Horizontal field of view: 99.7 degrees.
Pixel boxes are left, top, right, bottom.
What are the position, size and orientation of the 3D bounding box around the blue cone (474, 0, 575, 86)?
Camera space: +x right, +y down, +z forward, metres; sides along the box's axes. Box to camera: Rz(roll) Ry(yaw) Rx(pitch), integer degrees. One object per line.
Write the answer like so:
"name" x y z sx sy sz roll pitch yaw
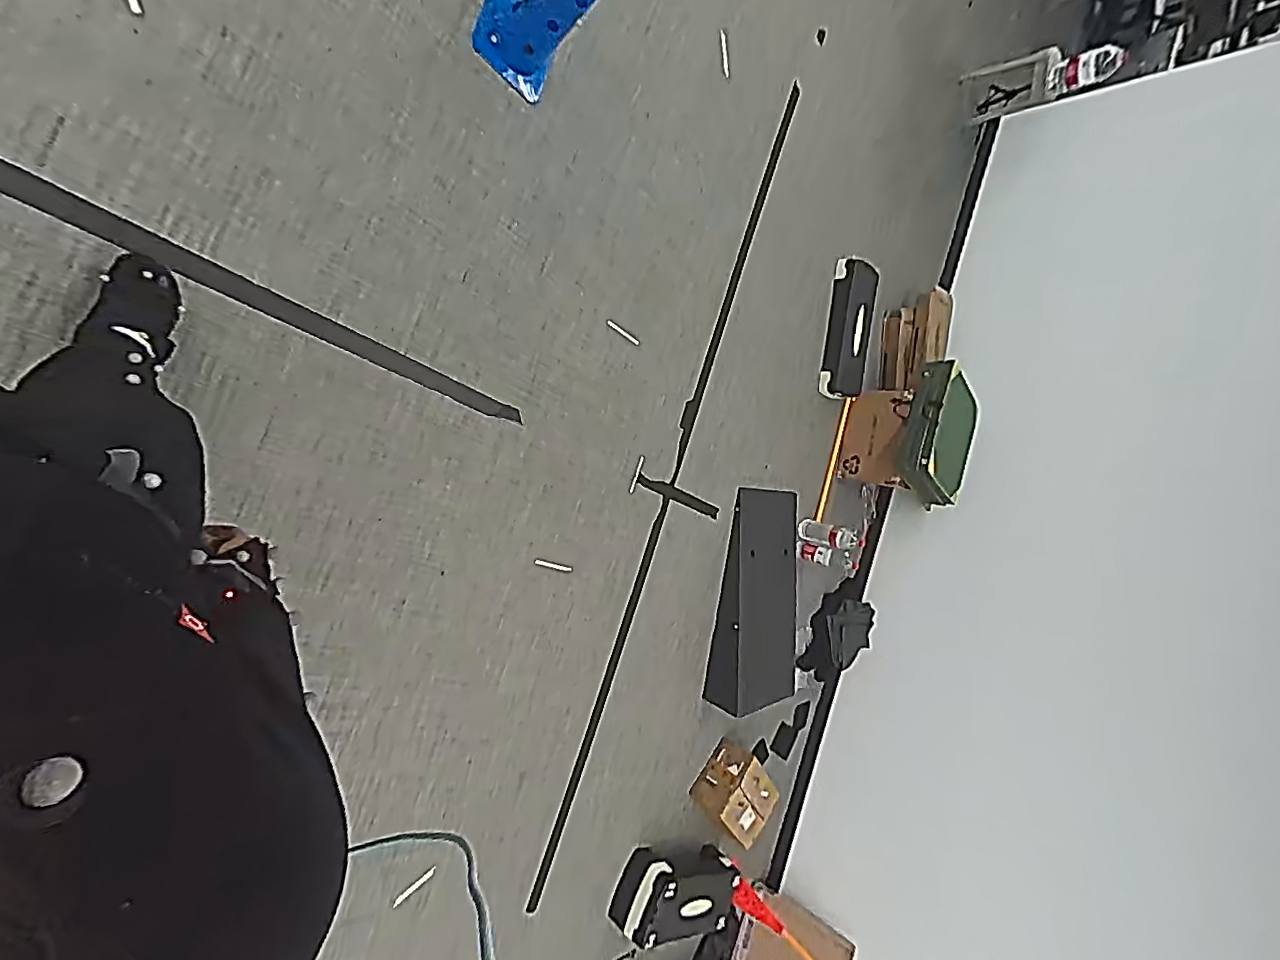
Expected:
"blue cone" -0.206 -1.110 1.253 0.193 0.380 0.192 25 80 -45
